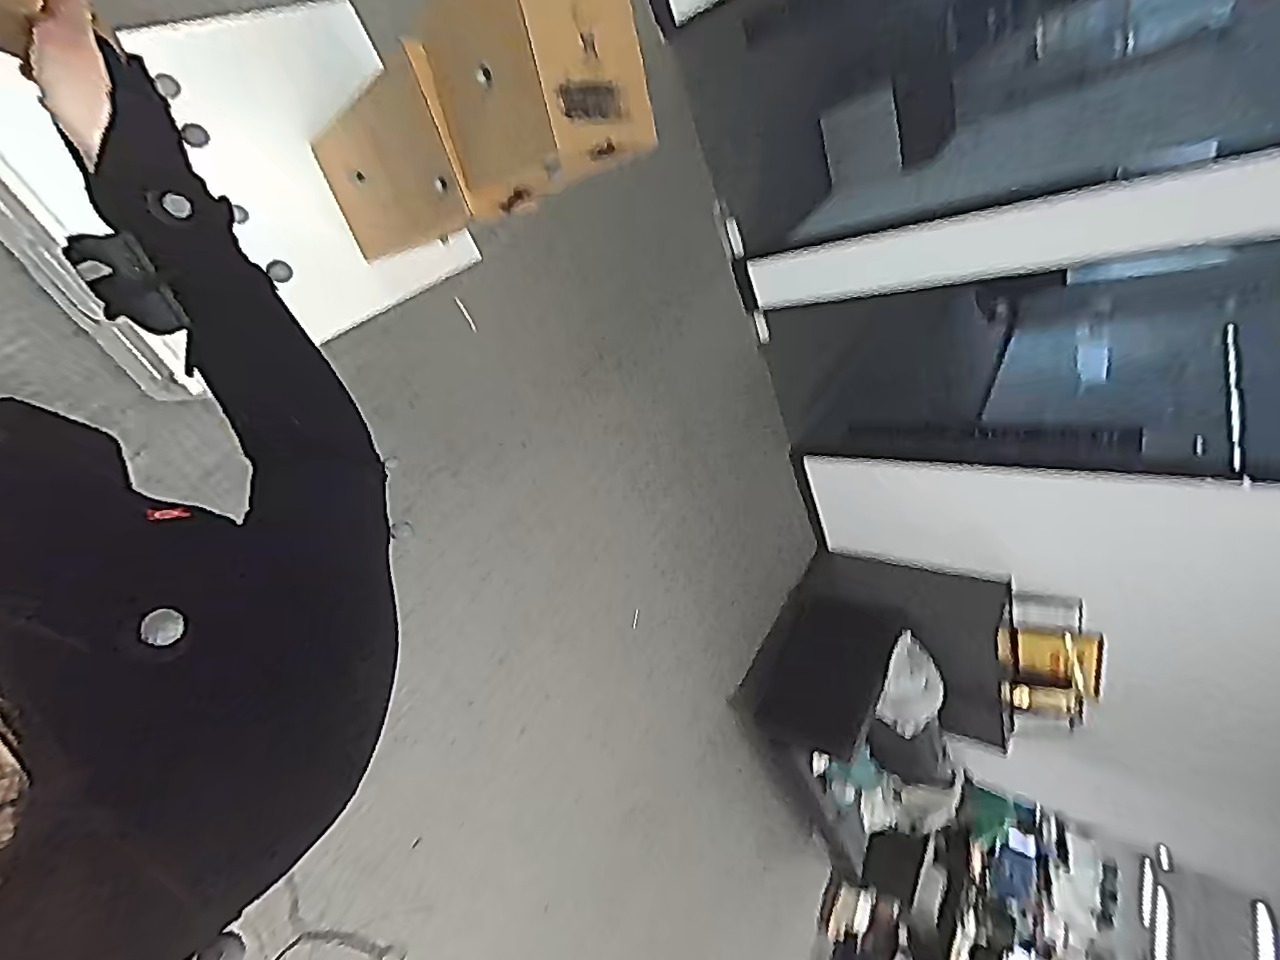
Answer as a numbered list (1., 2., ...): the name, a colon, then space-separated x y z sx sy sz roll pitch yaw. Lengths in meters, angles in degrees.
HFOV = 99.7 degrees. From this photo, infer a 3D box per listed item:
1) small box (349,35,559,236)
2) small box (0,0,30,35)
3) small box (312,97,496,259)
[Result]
1. small box: -0.245 -0.447 0.716 0.168 0.176 0.179 -41 124 -37
2. small box: -0.381 -0.330 0.218 0.179 0.176 0.168 0 106 -48
3. small box: -0.362 -0.460 0.829 0.168 0.176 0.179 -39 122 -37
